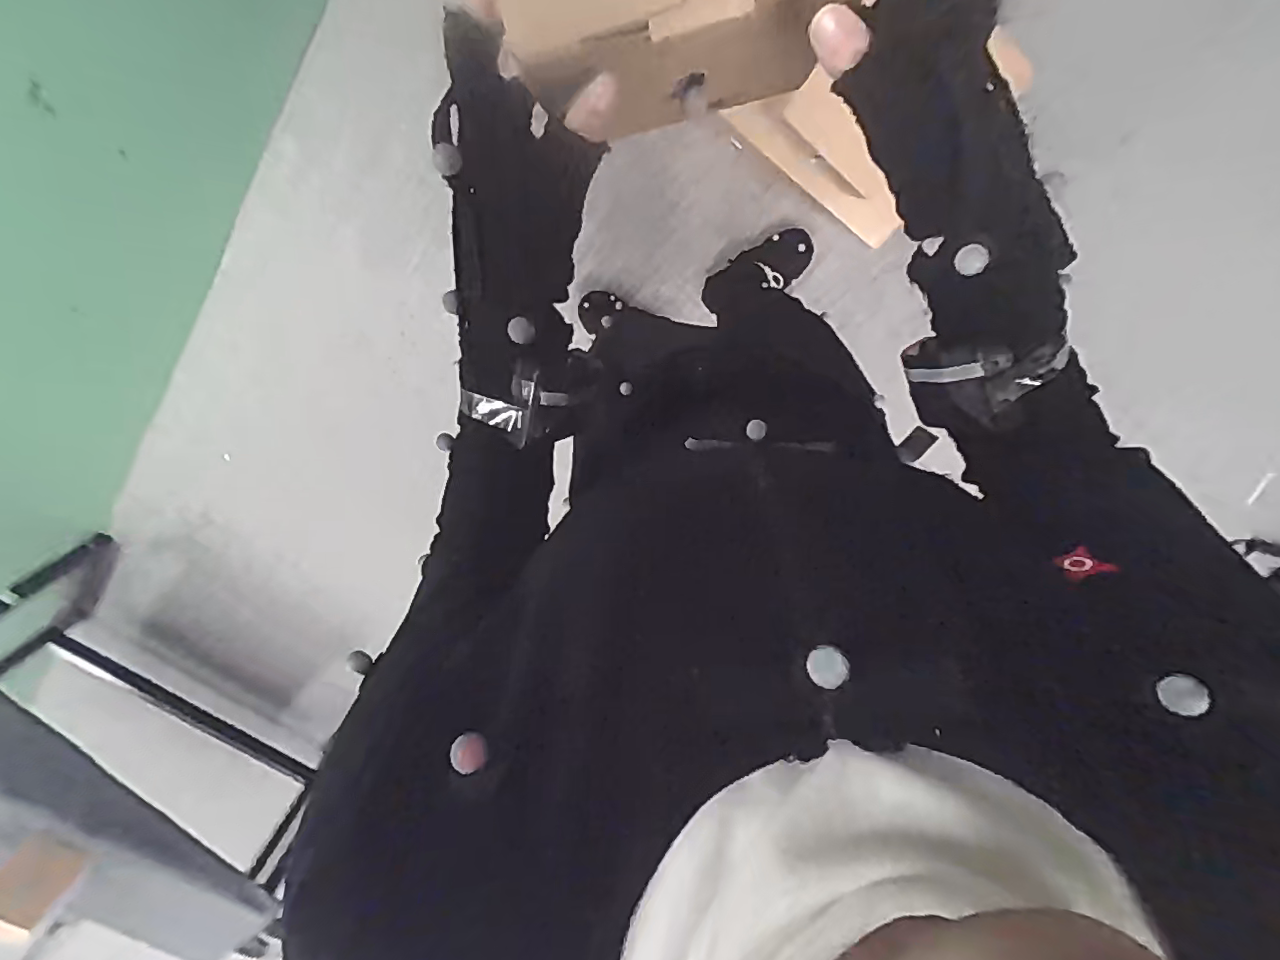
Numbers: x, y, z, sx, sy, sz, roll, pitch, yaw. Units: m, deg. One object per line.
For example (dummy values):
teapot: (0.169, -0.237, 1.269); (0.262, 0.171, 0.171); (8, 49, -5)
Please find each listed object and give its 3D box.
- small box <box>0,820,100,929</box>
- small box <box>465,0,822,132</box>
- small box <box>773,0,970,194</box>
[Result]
small box: (-1.621, 1.046, 1.446); (0.179, 0.176, 0.168); (36, 118, -12)
small box: (-0.002, -0.297, 0.267); (0.168, 0.176, 0.179); (-12, 111, 8)
small box: (0.307, -0.536, 0.761); (0.179, 0.176, 0.168); (35, 120, -14)
